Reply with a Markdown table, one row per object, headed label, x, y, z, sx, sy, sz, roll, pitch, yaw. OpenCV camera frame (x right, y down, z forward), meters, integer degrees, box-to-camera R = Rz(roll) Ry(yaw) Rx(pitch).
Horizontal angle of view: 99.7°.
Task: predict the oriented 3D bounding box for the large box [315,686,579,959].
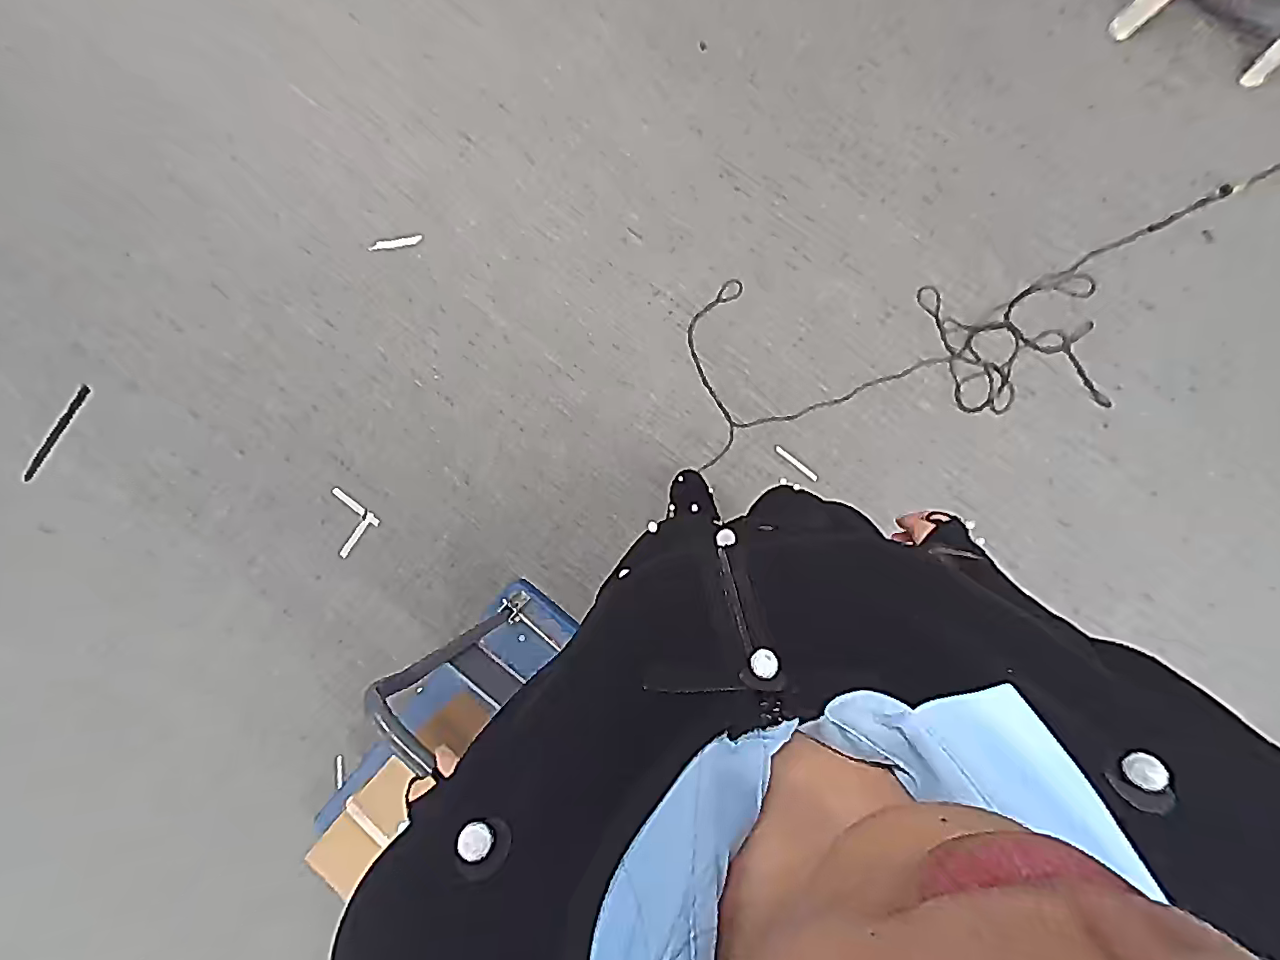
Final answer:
| label | x | y | z | sx | sy | sz | roll | pitch | yaw |
| --- | --- | --- | --- | --- | --- | --- | --- | --- | --- |
| large box | -0.407 | 0.758 | 1.228 | 0.408 | 0.320 | 0.320 | 41 | 94 | 4 |
